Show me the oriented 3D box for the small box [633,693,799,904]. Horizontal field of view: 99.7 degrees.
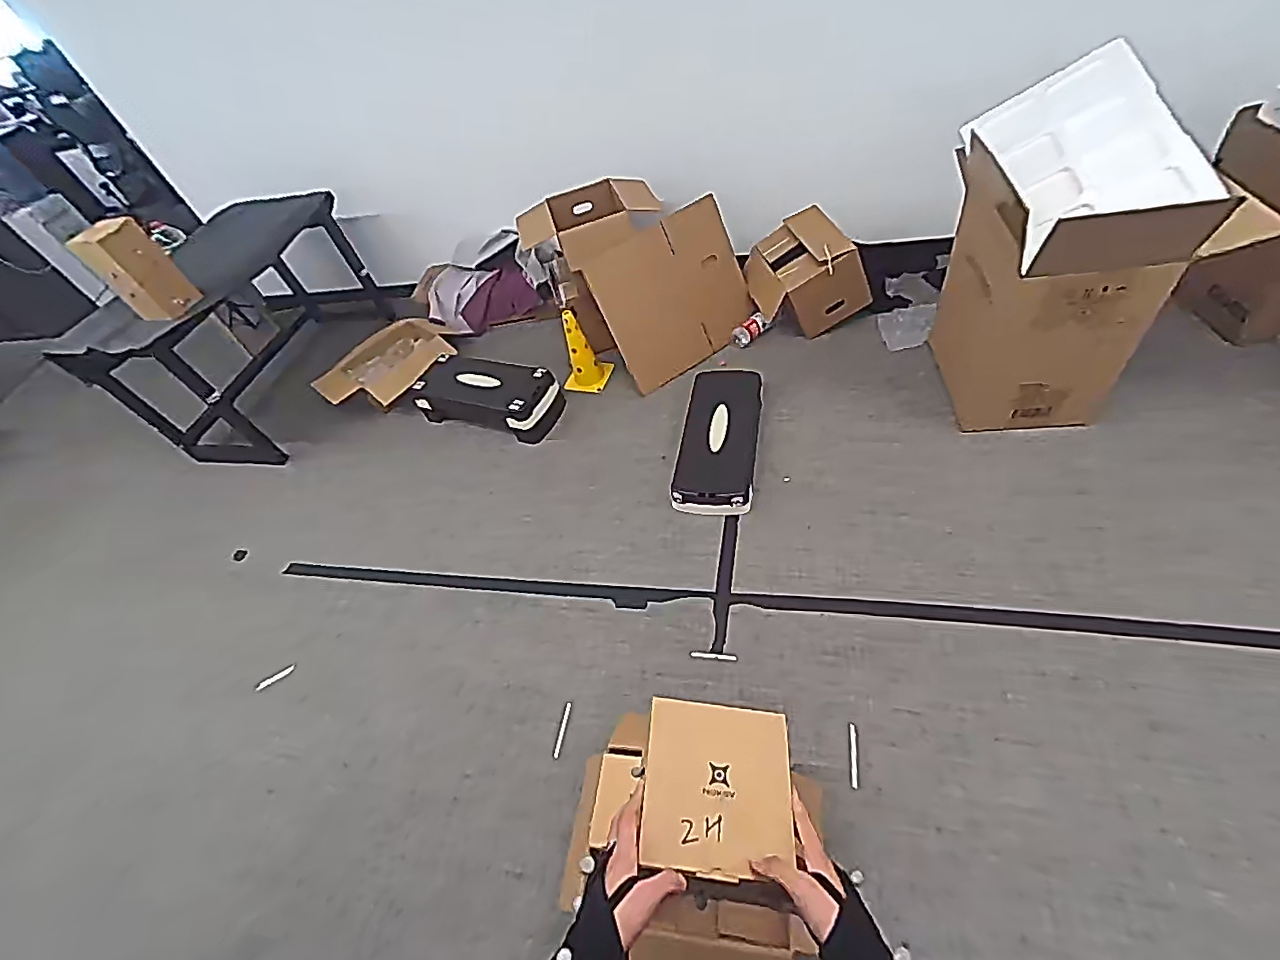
[{"bbox_3d":[0.084,0.387,0.656,0.168,0.176,0.179,7,48,2],"label":"small box"}]
